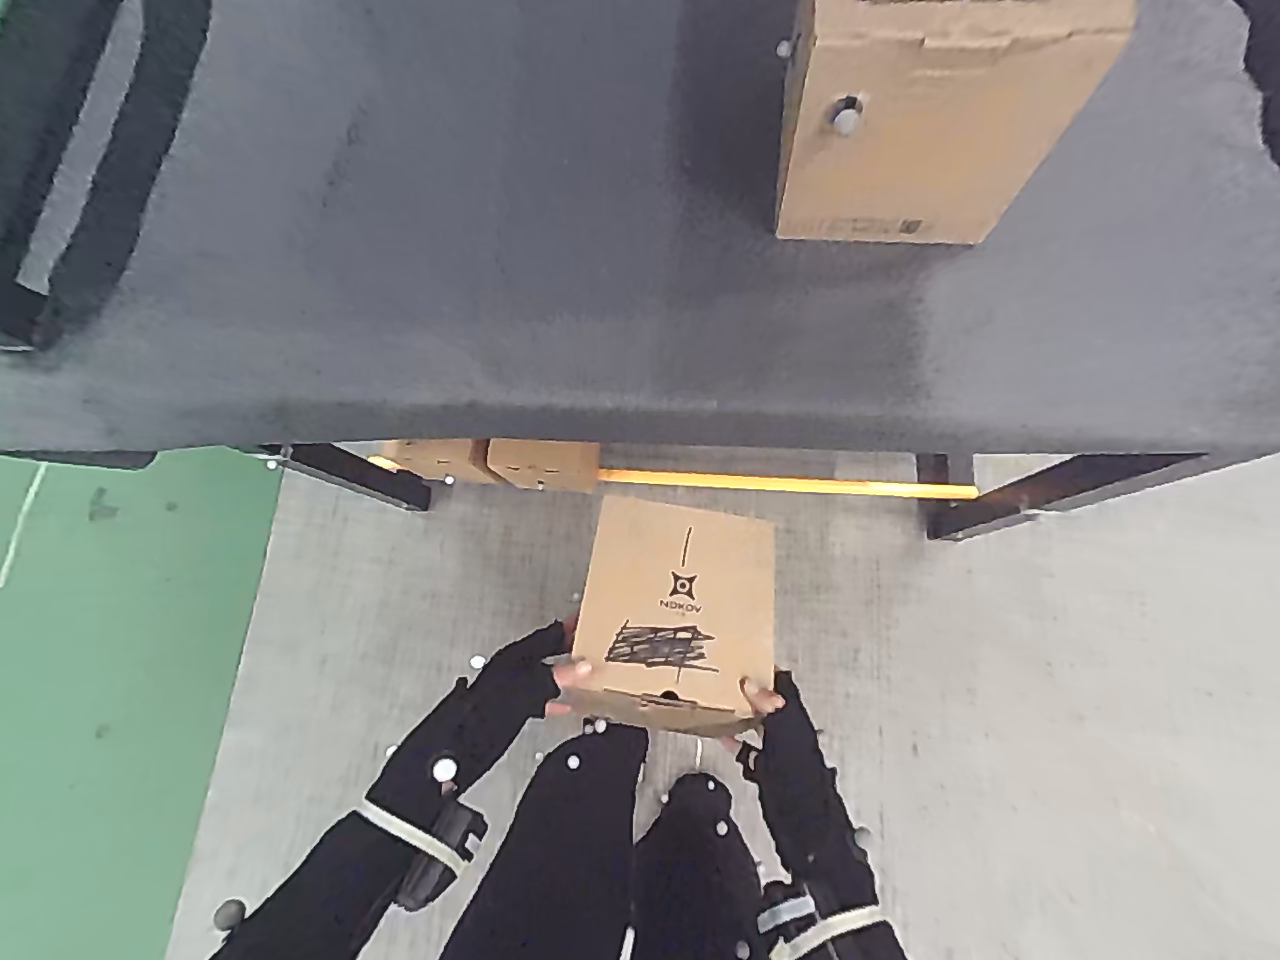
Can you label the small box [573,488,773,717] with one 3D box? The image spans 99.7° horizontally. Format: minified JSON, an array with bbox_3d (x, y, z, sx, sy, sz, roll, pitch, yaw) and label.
[{"bbox_3d":[0.031,0.134,0.554,0.168,0.176,0.179,9,59,-1],"label":"small box"}]
